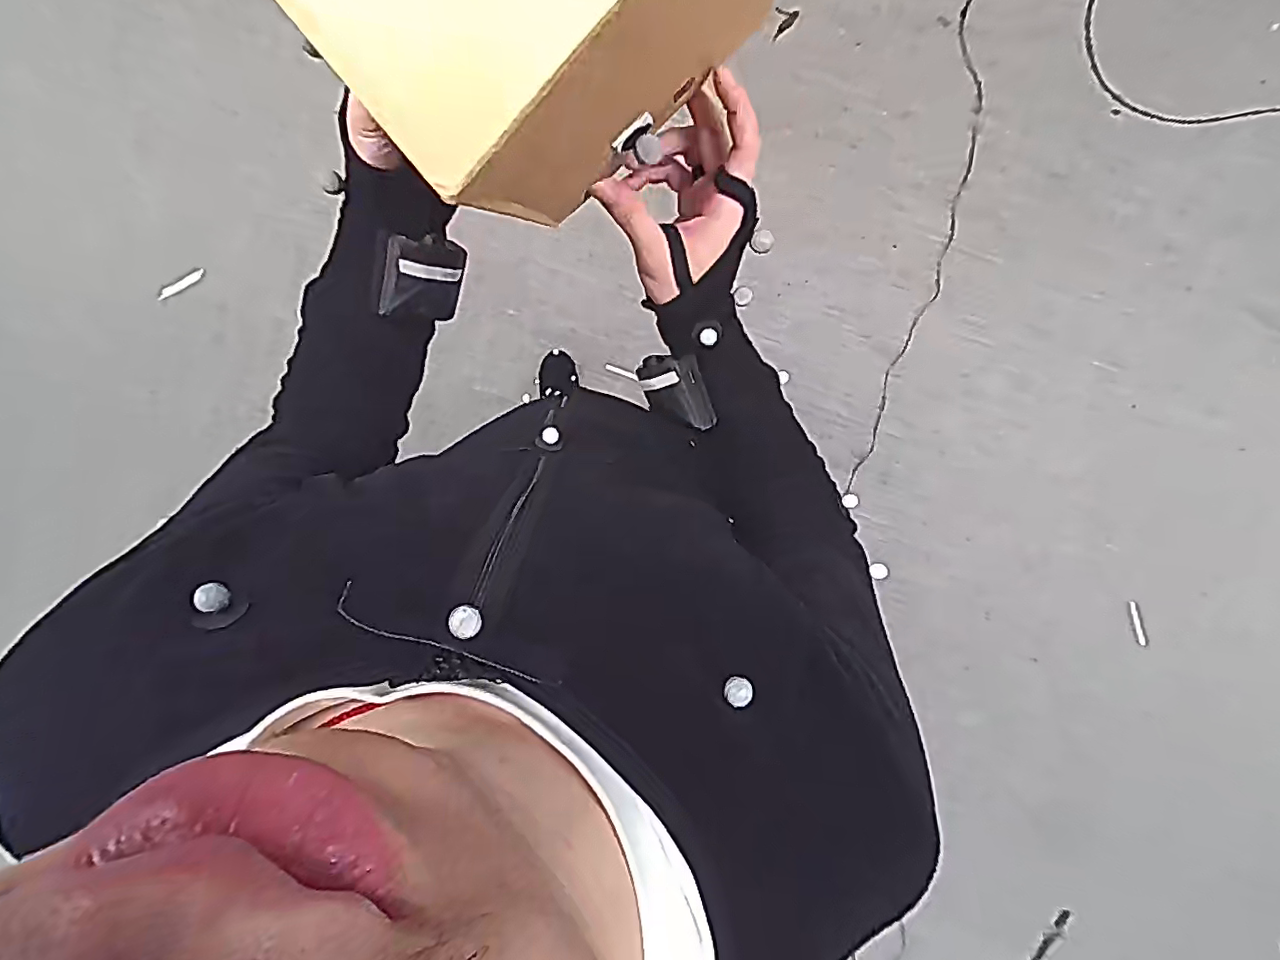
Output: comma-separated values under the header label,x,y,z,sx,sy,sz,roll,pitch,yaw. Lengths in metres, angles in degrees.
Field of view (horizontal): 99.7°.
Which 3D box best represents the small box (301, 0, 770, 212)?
label,x,y,z,sx,sy,sz,roll,pitch,yaw
small box,-0.051,-0.246,0.239,0.168,0.176,0.179,-38,103,19
